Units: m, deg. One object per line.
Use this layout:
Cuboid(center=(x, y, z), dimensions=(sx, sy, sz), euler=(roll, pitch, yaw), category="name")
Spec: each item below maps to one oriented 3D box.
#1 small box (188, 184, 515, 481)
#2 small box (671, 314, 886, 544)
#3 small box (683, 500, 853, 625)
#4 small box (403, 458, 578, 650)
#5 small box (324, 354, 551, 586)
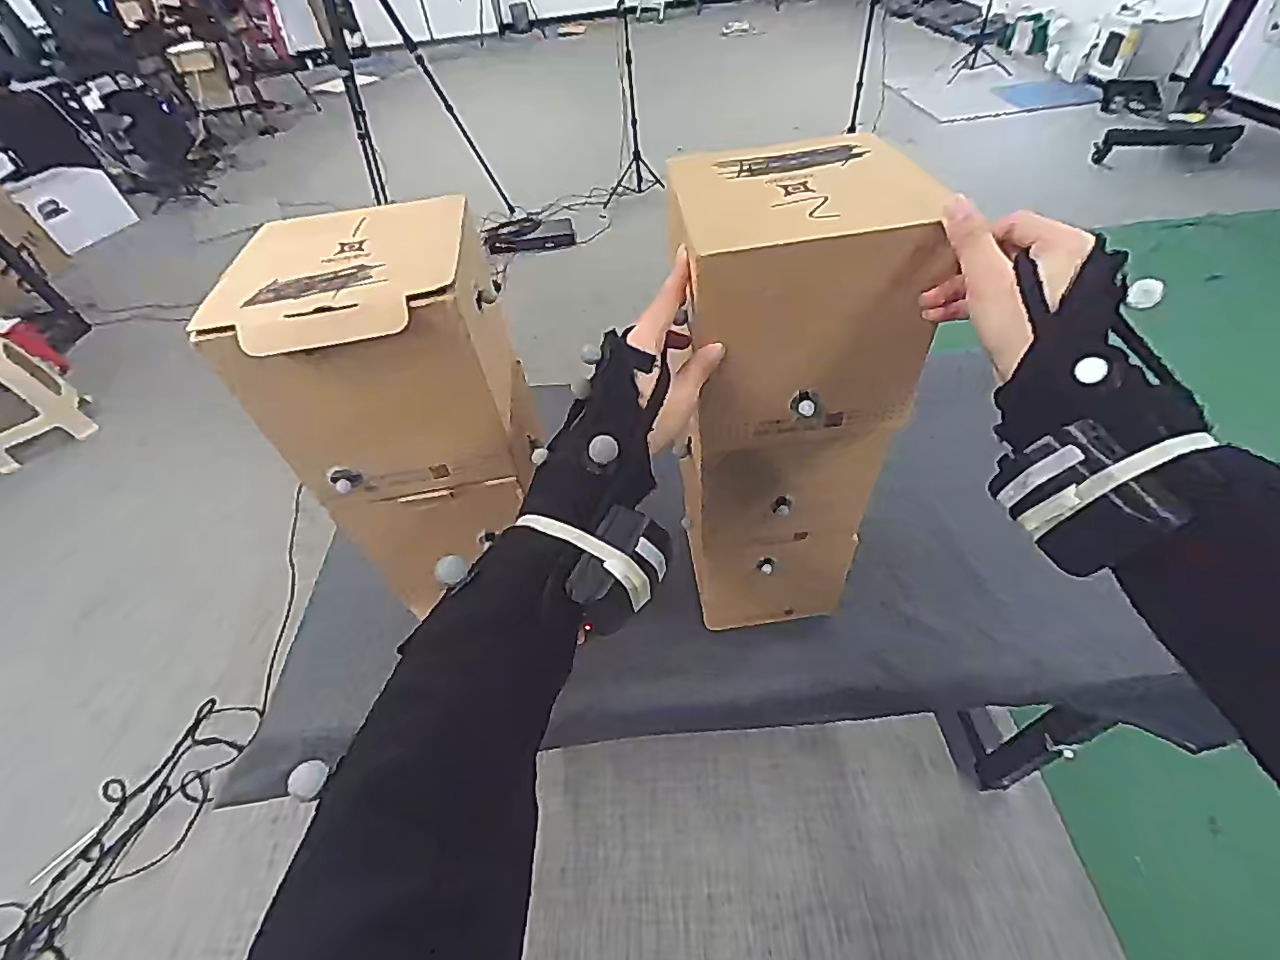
Cuboid(center=(-0.202, -0.115, 0.444), dimensions=(0.168, 0.176, 0.179), euler=(-9, 47, -4), category="small box")
Cuboid(center=(0.126, -0.047, 0.566), dimensions=(0.168, 0.176, 0.179), euler=(-6, 48, -1), category="small box")
Cuboid(center=(0.146, 0.060, 0.691), dimensions=(0.168, 0.176, 0.179), euler=(-8, 48, 0), category="small box")
Cuboid(center=(-0.176, 0.101, 0.689), dimensions=(0.168, 0.176, 0.179), euler=(-9, 48, -2), category="small box")
Cuboid(center=(-0.190, -0.004, 0.566), dimensions=(0.168, 0.176, 0.179), euler=(-9, 47, -3), category="small box")
